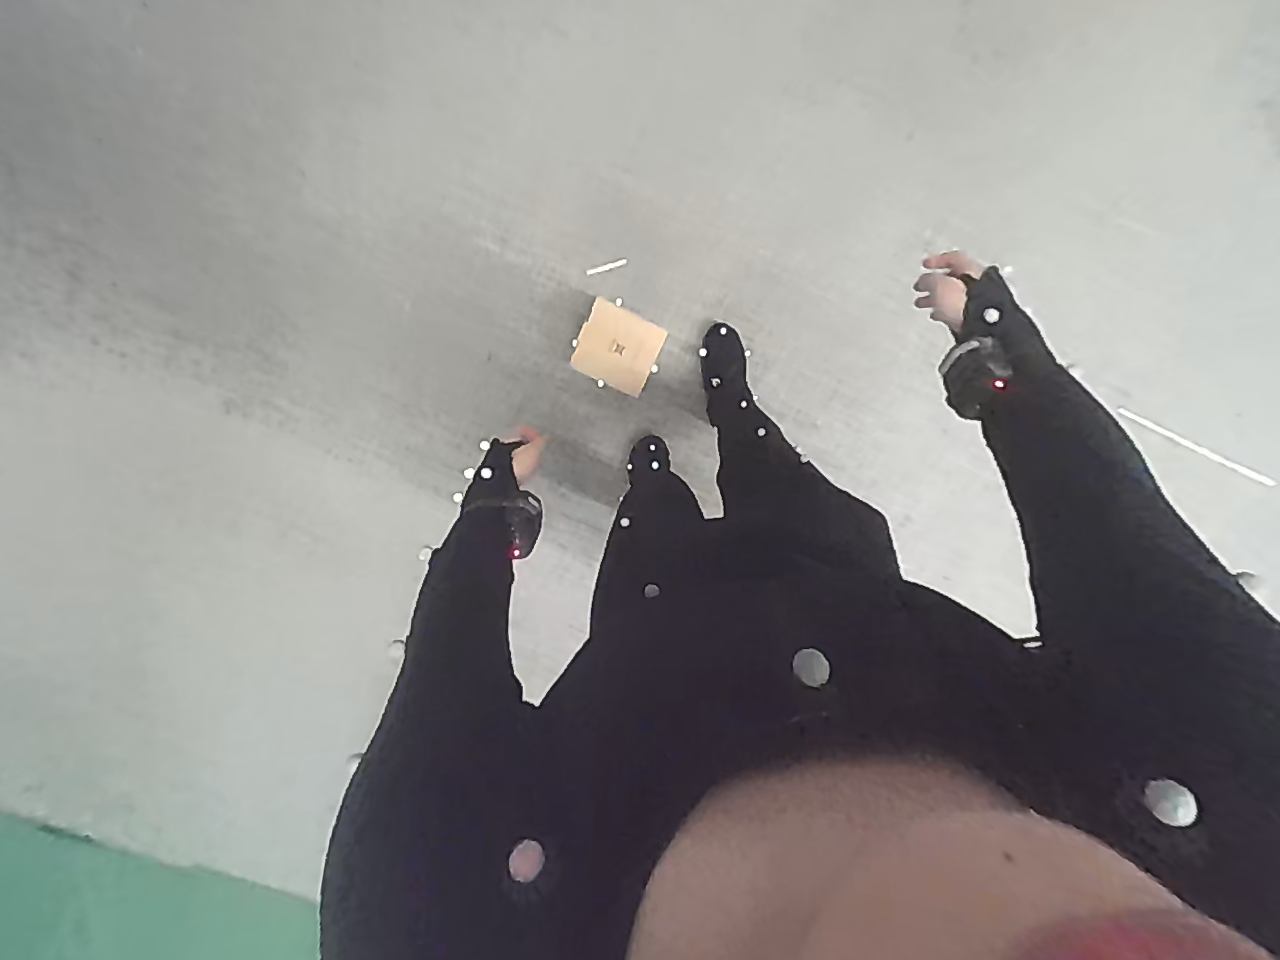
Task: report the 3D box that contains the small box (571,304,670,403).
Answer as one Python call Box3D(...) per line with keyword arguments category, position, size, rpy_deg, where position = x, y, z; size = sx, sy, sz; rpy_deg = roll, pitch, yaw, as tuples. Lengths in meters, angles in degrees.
Box3D(category="small box", position=(-0.044, -0.298, 1.279), size=(0.179, 0.176, 0.168), rpy_deg=(24, 105, -6))
